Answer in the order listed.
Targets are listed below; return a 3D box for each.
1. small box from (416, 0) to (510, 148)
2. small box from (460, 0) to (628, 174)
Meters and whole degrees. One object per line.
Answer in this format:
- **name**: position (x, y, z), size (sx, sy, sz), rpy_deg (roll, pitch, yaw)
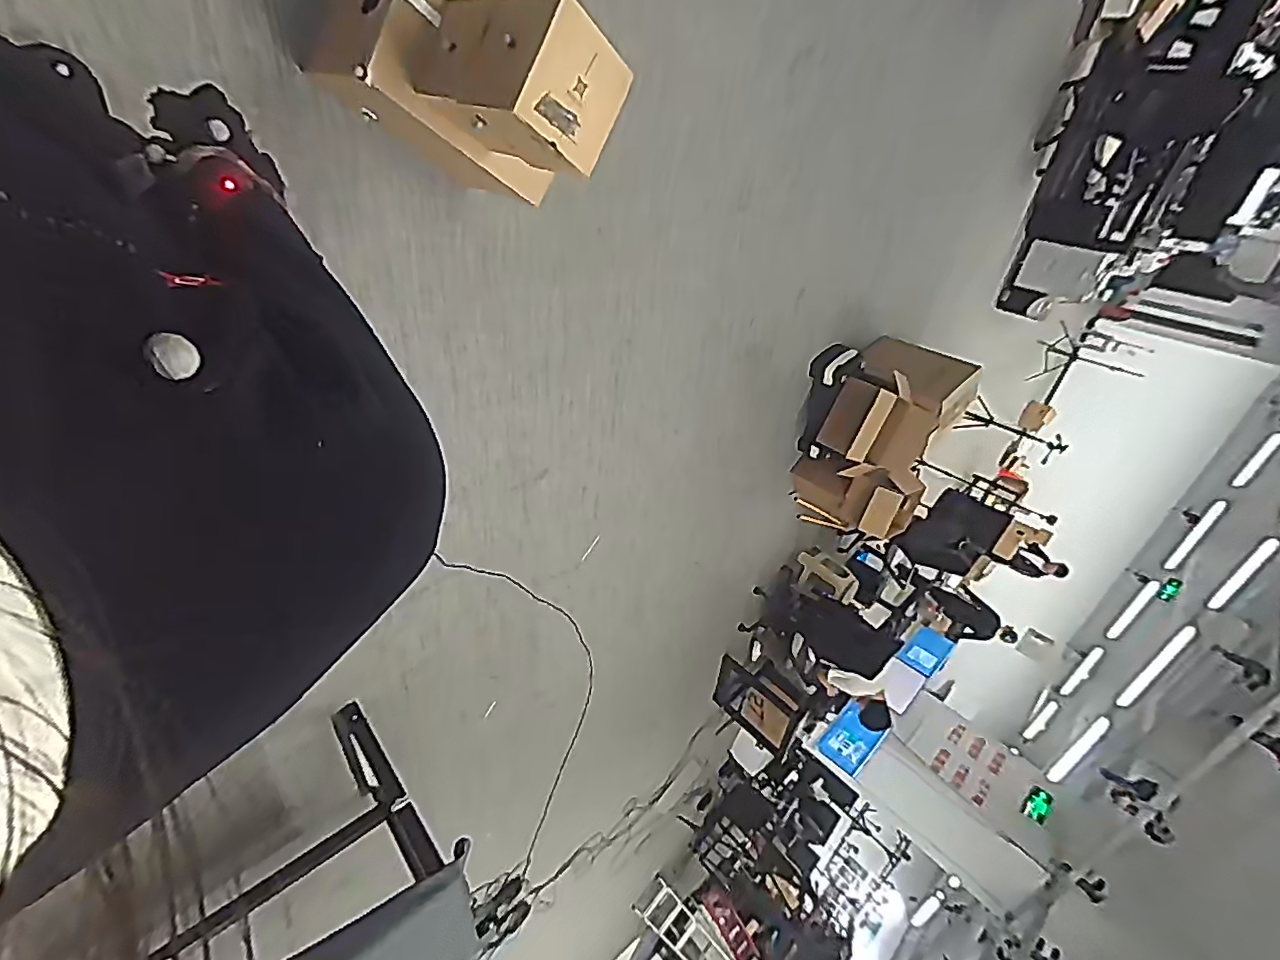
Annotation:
- **small box**: position (-0.263, -0.707, 0.953), size (0.179, 0.176, 0.168), rpy_deg (6, 111, -52)
- **small box**: position (-0.157, -0.623, 0.854), size (0.168, 0.176, 0.179), rpy_deg (15, 105, -54)
